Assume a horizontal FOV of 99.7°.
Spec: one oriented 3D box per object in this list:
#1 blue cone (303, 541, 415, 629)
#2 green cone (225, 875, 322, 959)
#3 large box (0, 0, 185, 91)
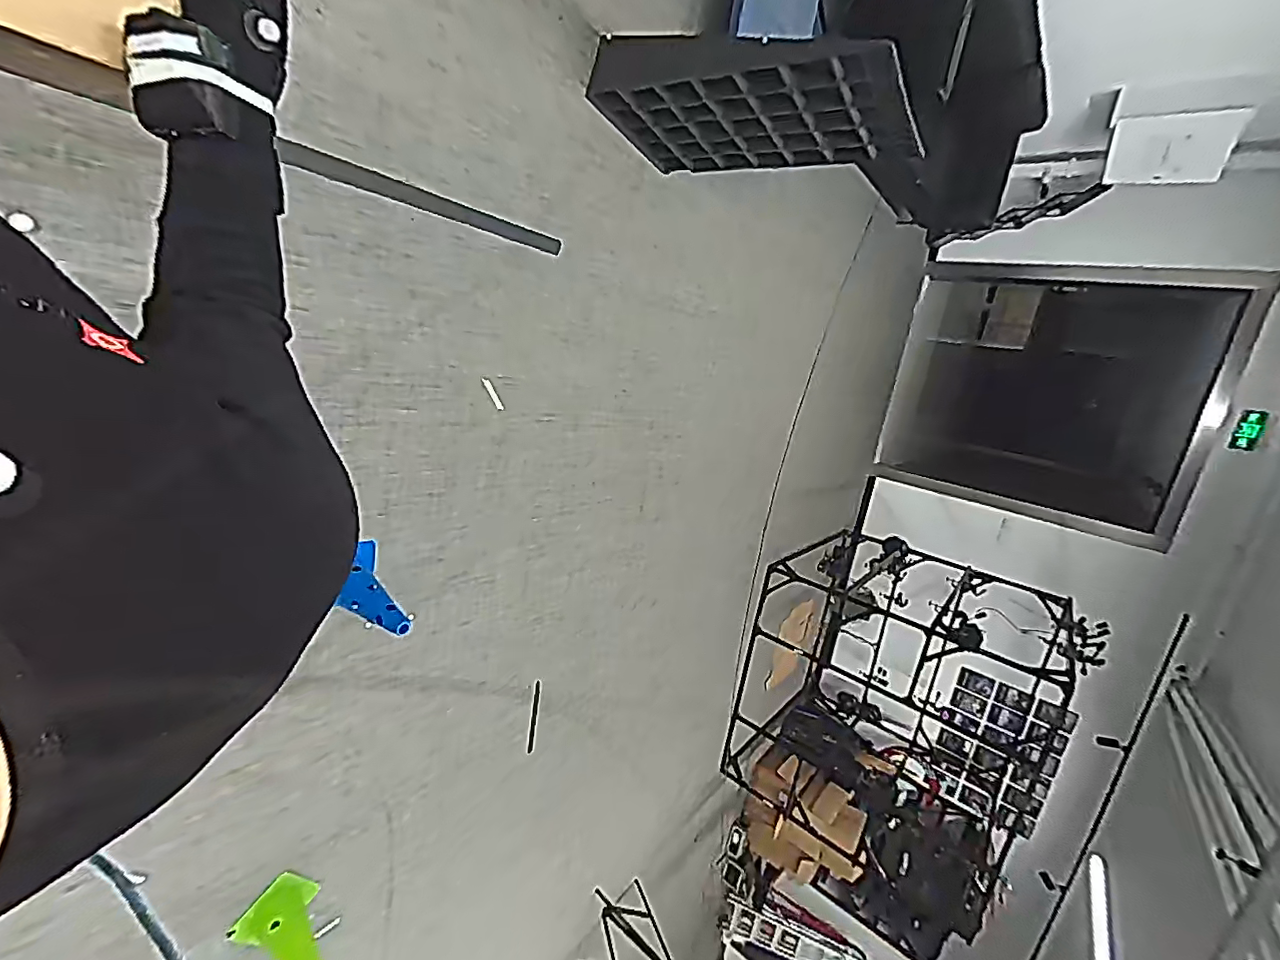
[{"bbox_3d":[-0.752,0.321,1.493,0.192,0.380,0.193,-3,108,-54],"label":"blue cone"},{"bbox_3d":[-1.023,1.414,1.614,0.202,0.368,0.200,-49,141,-30],"label":"green cone"},{"bbox_3d":[-0.528,-0.456,0.266,0.408,0.320,0.320,-9,120,-53],"label":"large box"}]
